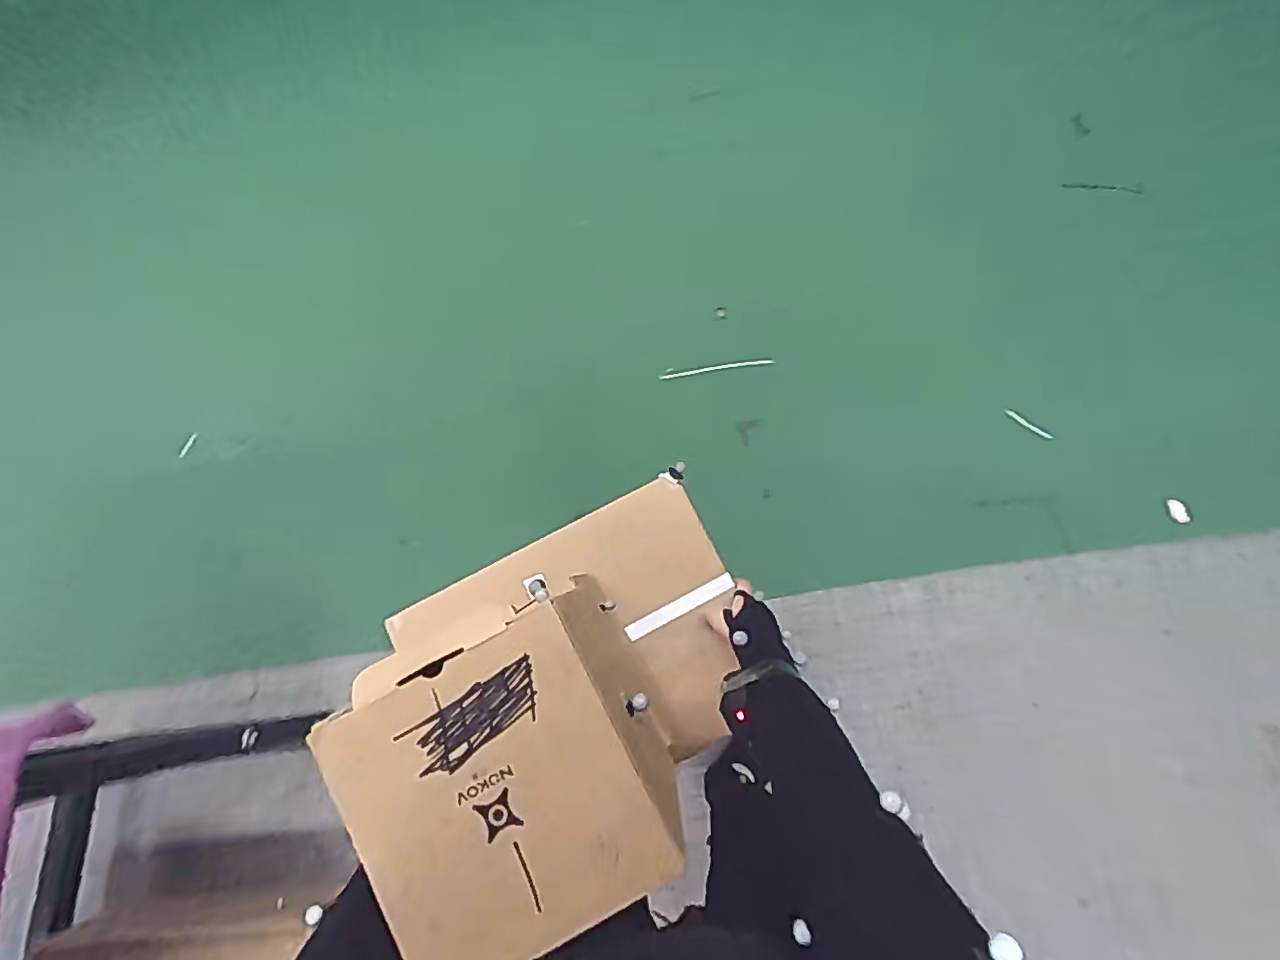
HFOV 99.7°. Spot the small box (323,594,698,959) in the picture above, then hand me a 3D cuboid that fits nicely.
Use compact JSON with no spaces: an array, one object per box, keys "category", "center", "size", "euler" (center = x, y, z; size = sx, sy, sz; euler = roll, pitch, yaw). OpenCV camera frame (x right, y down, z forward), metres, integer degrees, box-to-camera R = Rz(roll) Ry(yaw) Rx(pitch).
[{"category":"small box","center":[-0.076,0.193,0.389],"size":[0.168,0.176,0.179],"euler":[-27,83,-3]}]

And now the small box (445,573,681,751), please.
[{"category":"small box","center":[-0.076,0.212,0.552],"size":[0.168,0.176,0.179],"euler":[-32,82,-3]}]
